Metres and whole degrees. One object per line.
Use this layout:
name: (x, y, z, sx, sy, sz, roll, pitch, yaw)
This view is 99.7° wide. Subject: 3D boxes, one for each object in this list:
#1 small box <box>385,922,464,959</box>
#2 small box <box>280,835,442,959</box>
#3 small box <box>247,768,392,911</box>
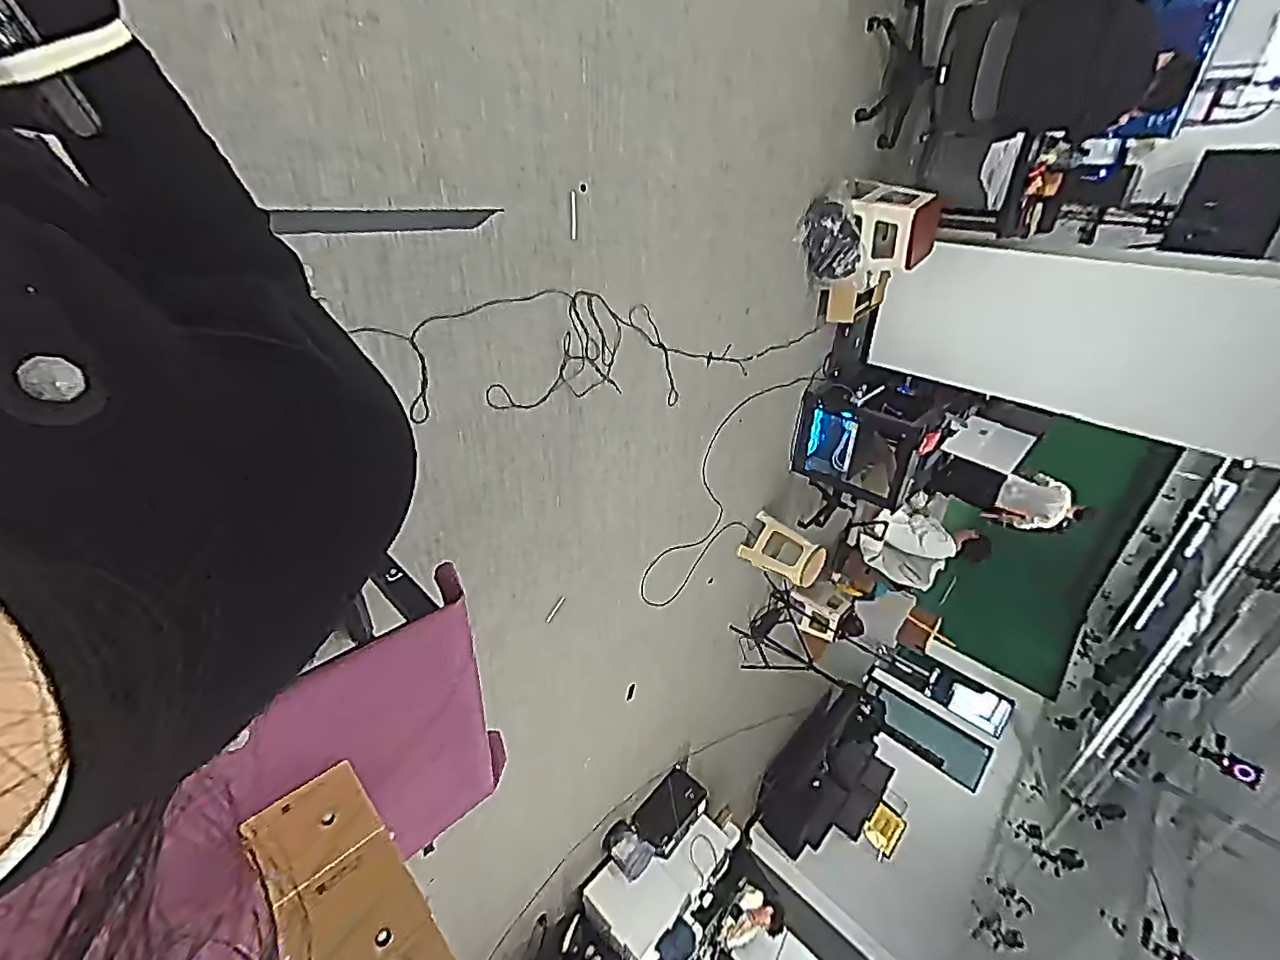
small box: (-0.297, 0.758, 0.725, 0.168, 0.176, 0.179, -25, 129, -40)
small box: (-0.414, 0.697, 0.825, 0.168, 0.176, 0.179, -26, 131, -40)
small box: (-0.532, 0.631, 0.918, 0.168, 0.176, 0.179, -25, 130, -40)
